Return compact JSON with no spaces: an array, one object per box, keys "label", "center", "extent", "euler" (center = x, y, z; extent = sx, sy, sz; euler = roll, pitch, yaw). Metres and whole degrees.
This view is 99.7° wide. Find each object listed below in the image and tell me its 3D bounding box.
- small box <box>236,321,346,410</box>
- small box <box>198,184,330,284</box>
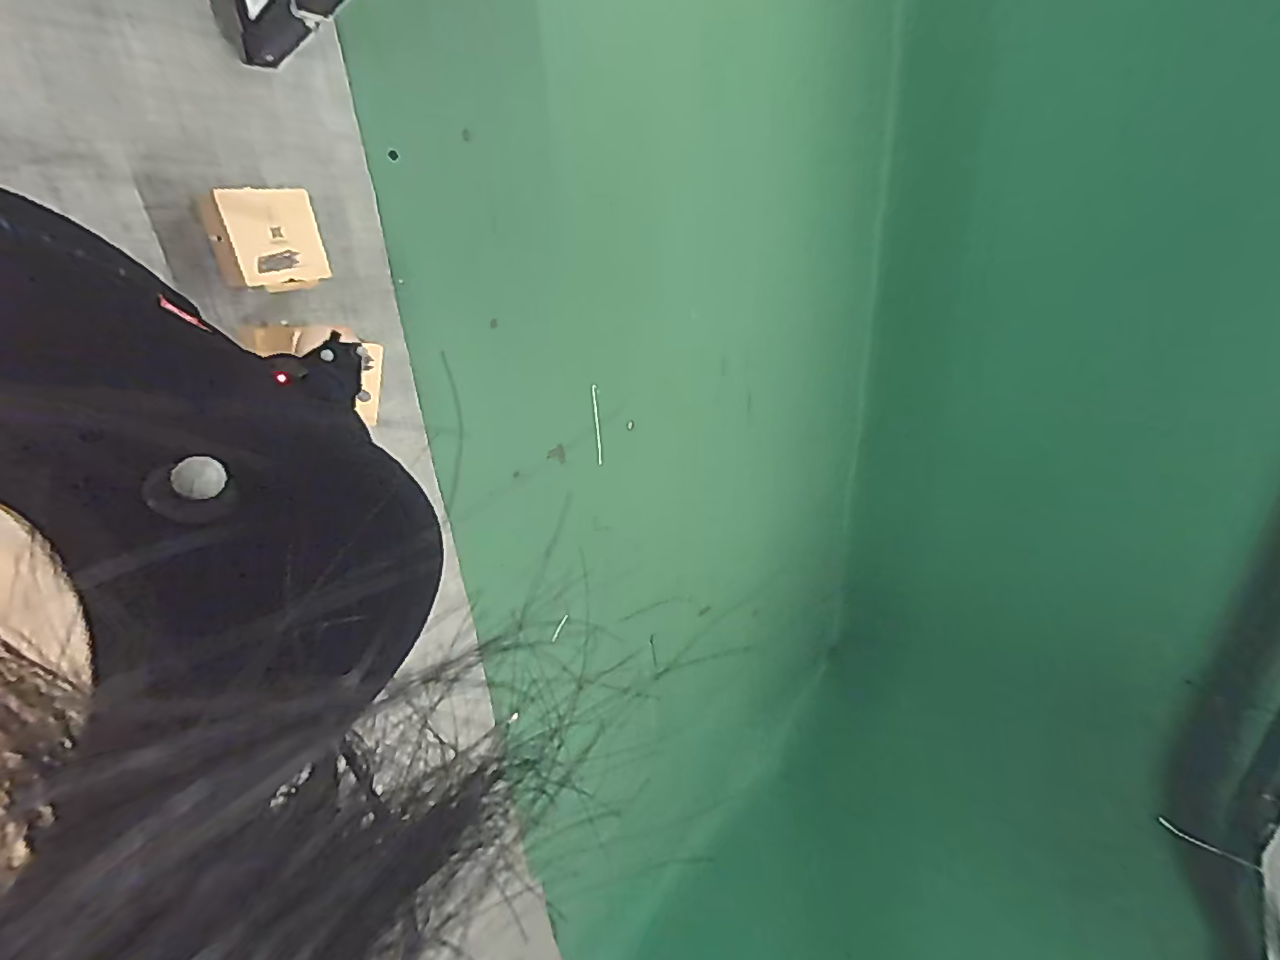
[{"label":"small box","center":[-0.789,-0.263,1.225],"extent":[0.168,0.176,0.179],"euler":[-14,114,-45]},{"label":"small box","center":[-0.788,-0.513,1.136],"extent":[0.168,0.176,0.179],"euler":[-26,121,-40]}]
